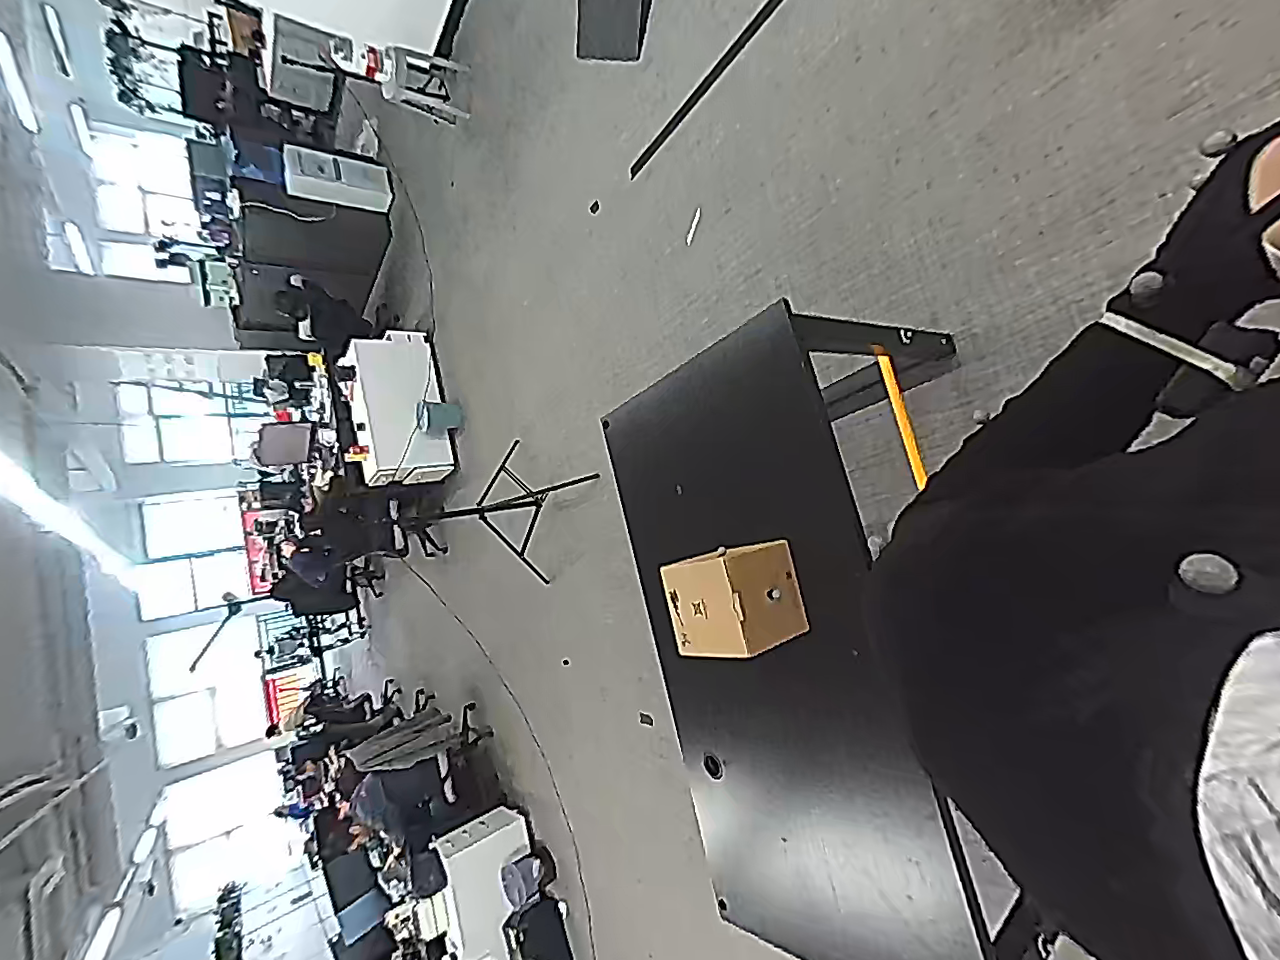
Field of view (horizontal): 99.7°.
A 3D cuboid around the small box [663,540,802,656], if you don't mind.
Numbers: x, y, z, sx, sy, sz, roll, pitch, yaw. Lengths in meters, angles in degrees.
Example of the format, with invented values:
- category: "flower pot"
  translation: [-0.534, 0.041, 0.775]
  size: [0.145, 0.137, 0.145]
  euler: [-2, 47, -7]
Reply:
- category: "small box"
  translation: [0.173, 0.212, 0.985]
  size: [0.179, 0.176, 0.168]
  euler: [-21, 80, 51]
